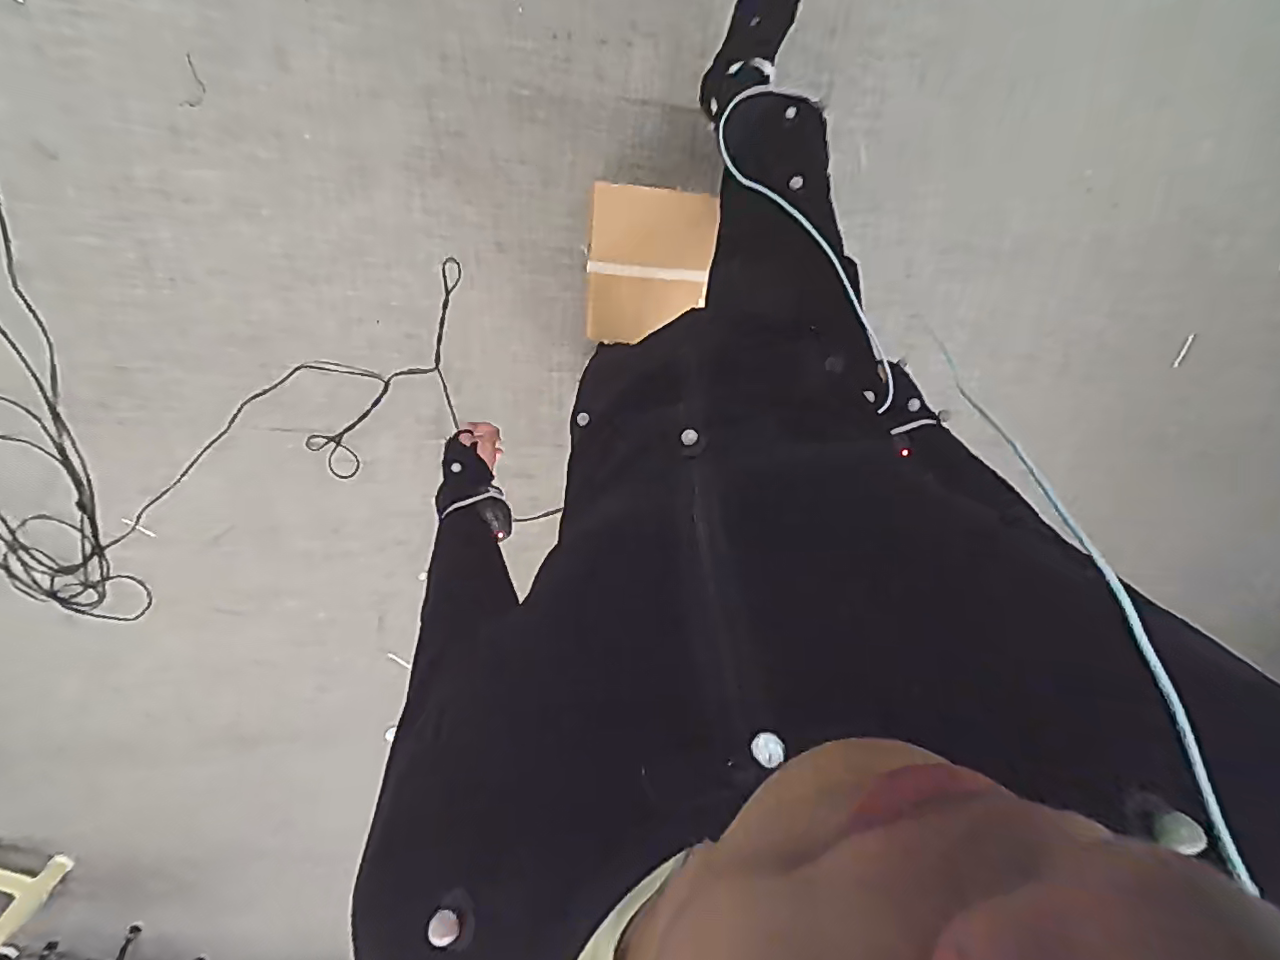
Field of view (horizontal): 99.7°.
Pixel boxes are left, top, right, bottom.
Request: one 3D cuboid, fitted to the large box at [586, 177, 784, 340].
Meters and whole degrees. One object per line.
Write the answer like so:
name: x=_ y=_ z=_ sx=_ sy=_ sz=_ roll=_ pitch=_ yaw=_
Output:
large box: x=0.076 y=-0.527 z=1.298 sx=0.408 sy=0.320 sz=0.320 roll=1 pitch=116 yaw=-8
